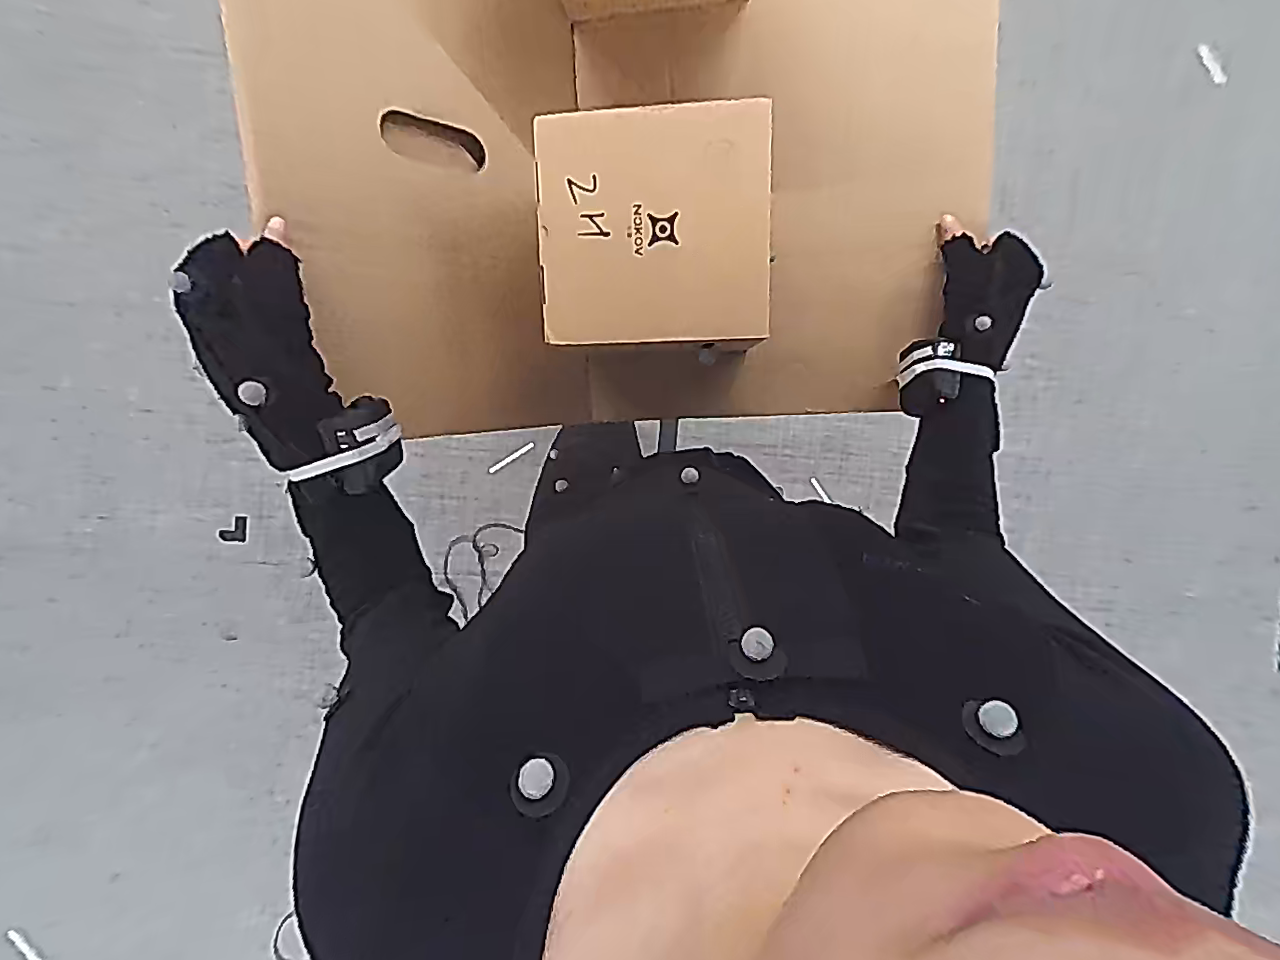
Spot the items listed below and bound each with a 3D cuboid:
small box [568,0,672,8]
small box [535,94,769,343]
[{"bbox_3d":[0.000,-0.530,0.436,0.179,0.176,0.168,-2,100,6],"label":"small box"},{"bbox_3d":[0.015,-0.215,0.491,0.179,0.176,0.168,0,100,6],"label":"small box"}]
